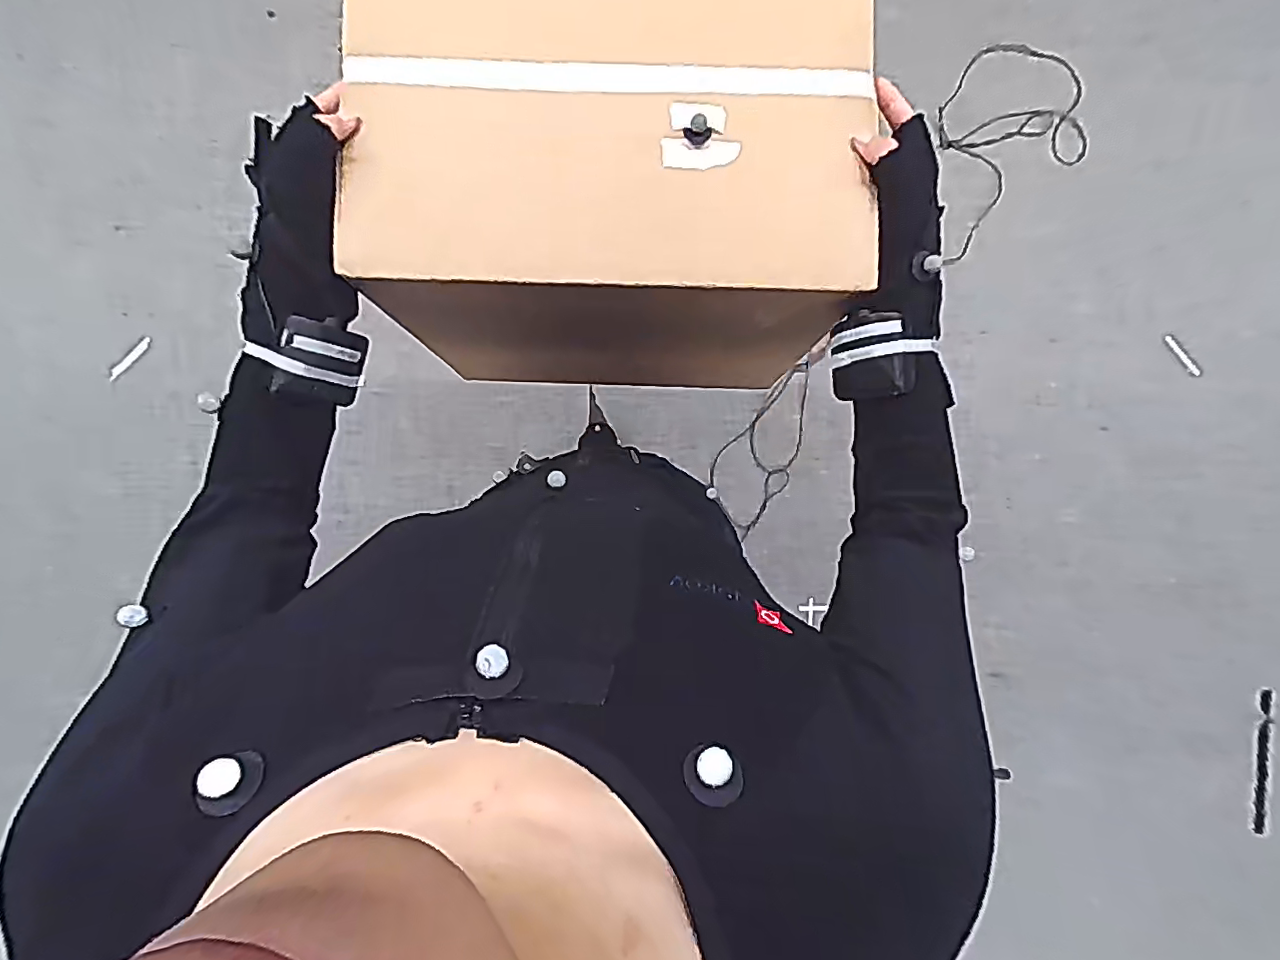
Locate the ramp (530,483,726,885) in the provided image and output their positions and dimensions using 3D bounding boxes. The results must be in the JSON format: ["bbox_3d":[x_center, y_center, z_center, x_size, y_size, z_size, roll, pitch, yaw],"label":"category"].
[{"bbox_3d":[-0.029,0.499,1.419,0.509,0.206,0.991,-1,90,2],"label":"ramp"}]

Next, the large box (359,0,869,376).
[{"bbox_3d":[-0.022,-0.301,0.578,0.408,0.320,0.320,1,86,-1],"label":"large box"}]
